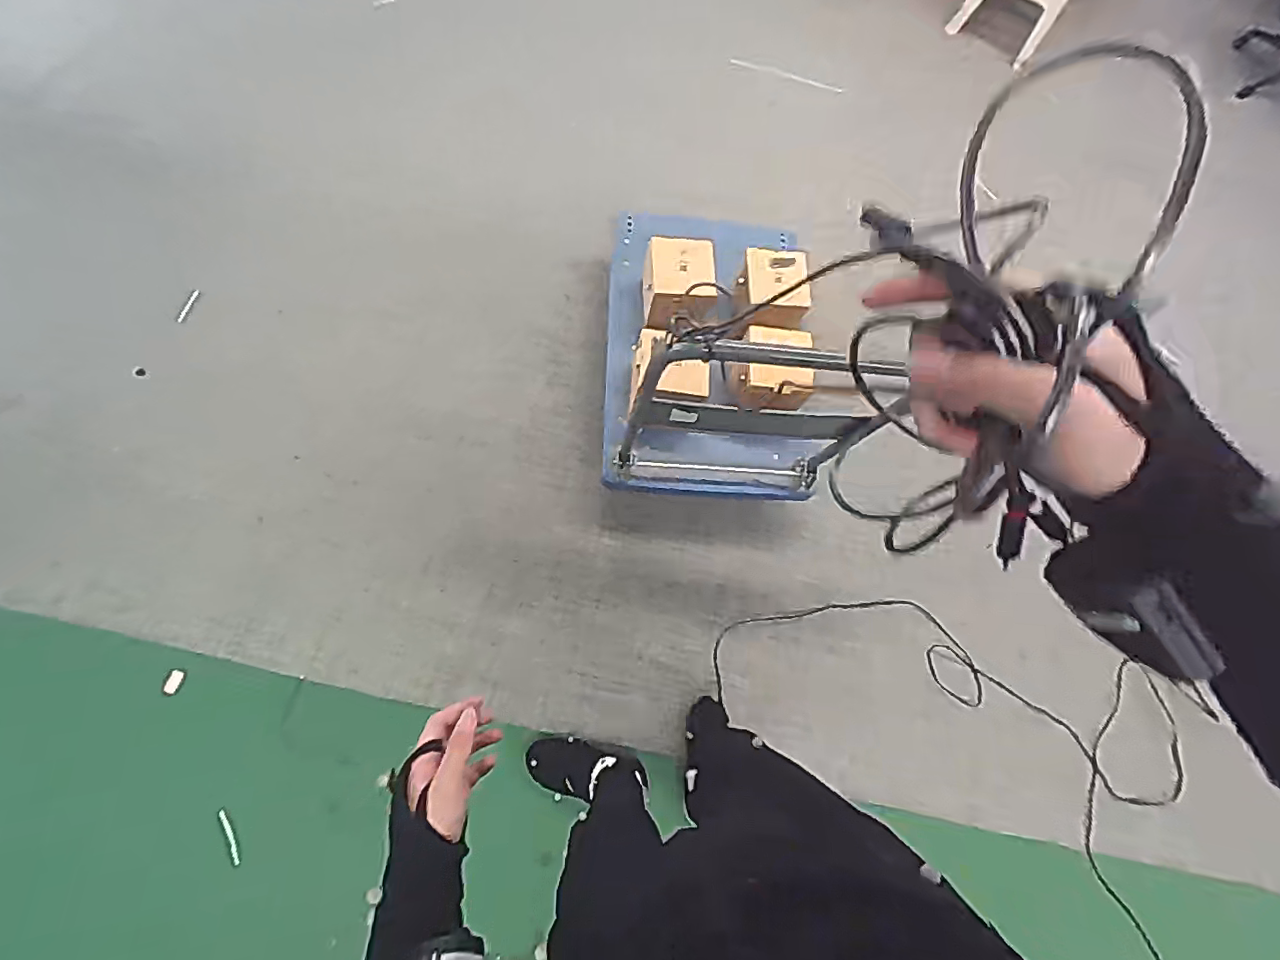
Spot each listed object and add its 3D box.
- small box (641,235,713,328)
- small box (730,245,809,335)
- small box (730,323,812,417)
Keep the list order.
[{"bbox_3d":[0.096,-0.533,1.470,0.168,0.176,0.179,0,73,-8],"label":"small box"},{"bbox_3d":[0.351,-0.518,1.497,0.168,0.176,0.179,1,73,-6],"label":"small box"},{"bbox_3d":[0.339,-0.284,1.424,0.168,0.176,0.179,5,73,-5],"label":"small box"}]
